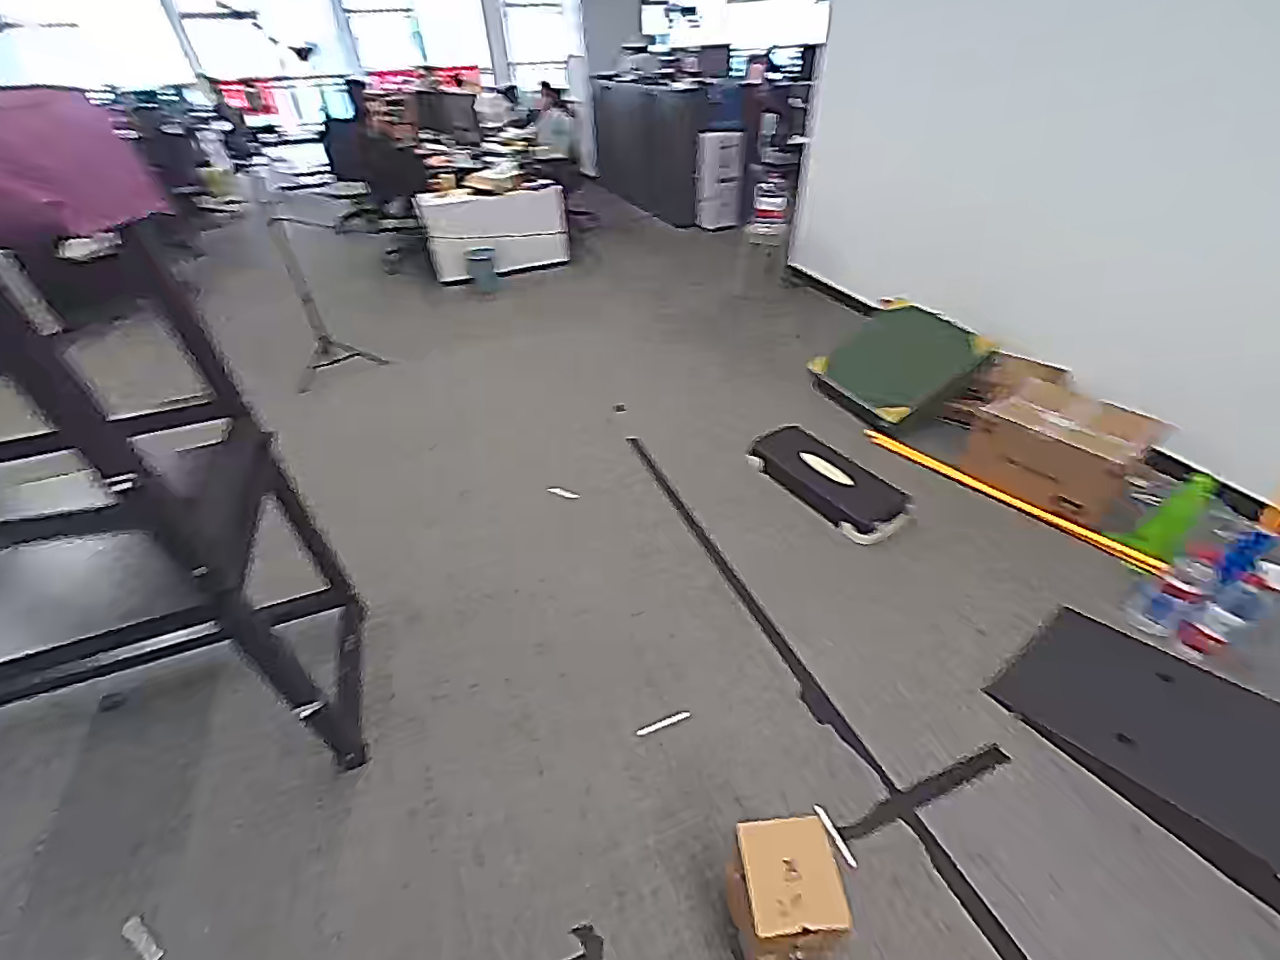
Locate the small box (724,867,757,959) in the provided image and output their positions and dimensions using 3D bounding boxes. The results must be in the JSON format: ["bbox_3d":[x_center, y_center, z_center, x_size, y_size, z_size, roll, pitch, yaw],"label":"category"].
[{"bbox_3d":[0.284,0.906,1.125,0.168,0.176,0.179,-12,41,-11],"label":"small box"}]

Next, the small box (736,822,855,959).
[{"bbox_3d":[0.281,0.778,1.021,0.168,0.176,0.179,-4,39,-1],"label":"small box"}]
